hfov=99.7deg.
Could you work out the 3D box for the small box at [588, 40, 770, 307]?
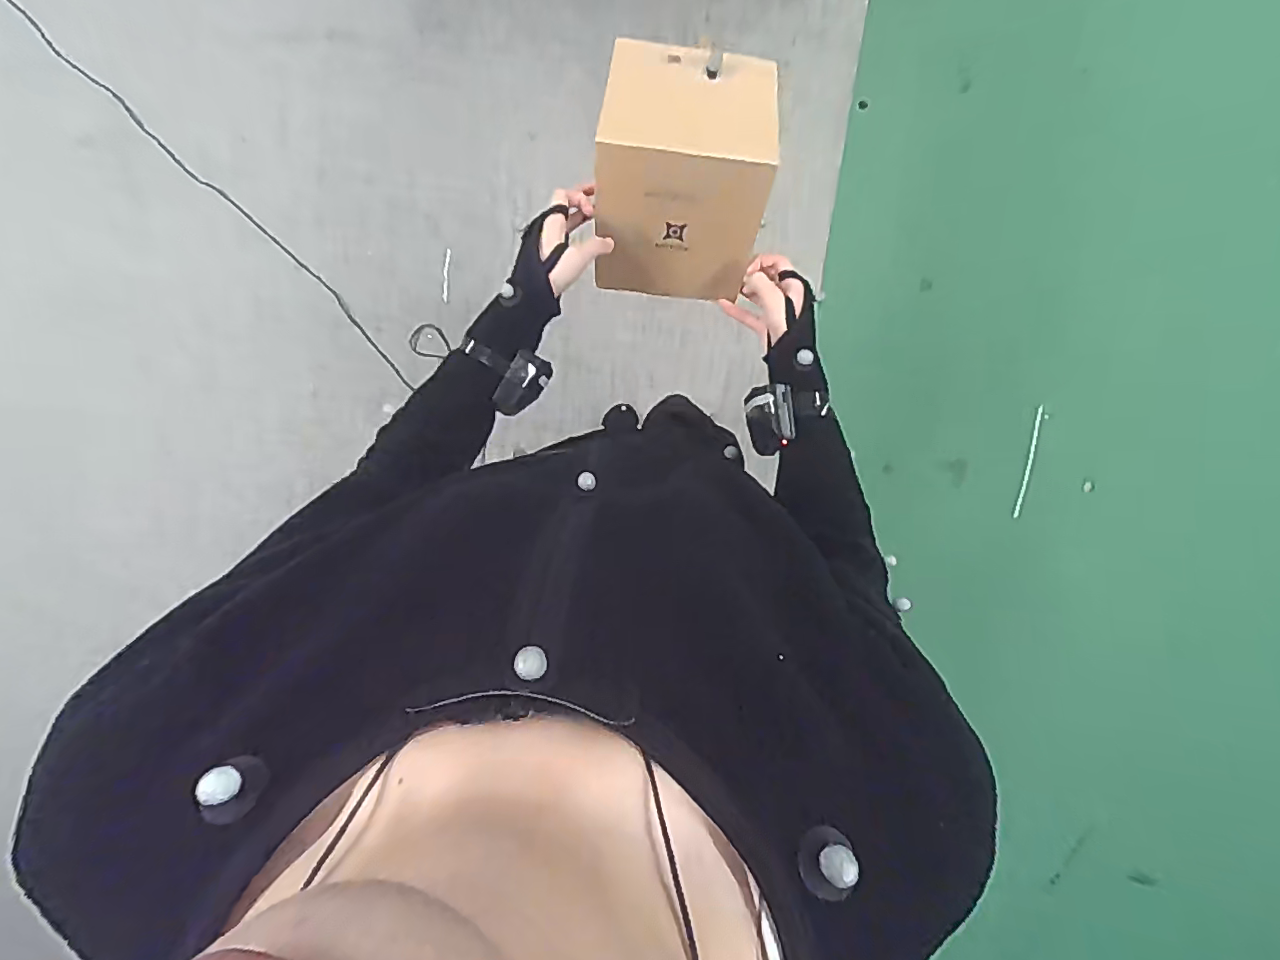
[{"bbox_3d":[0.038,-0.319,0.582,0.168,0.179,0.176,7,64,-1],"label":"small box"}]
